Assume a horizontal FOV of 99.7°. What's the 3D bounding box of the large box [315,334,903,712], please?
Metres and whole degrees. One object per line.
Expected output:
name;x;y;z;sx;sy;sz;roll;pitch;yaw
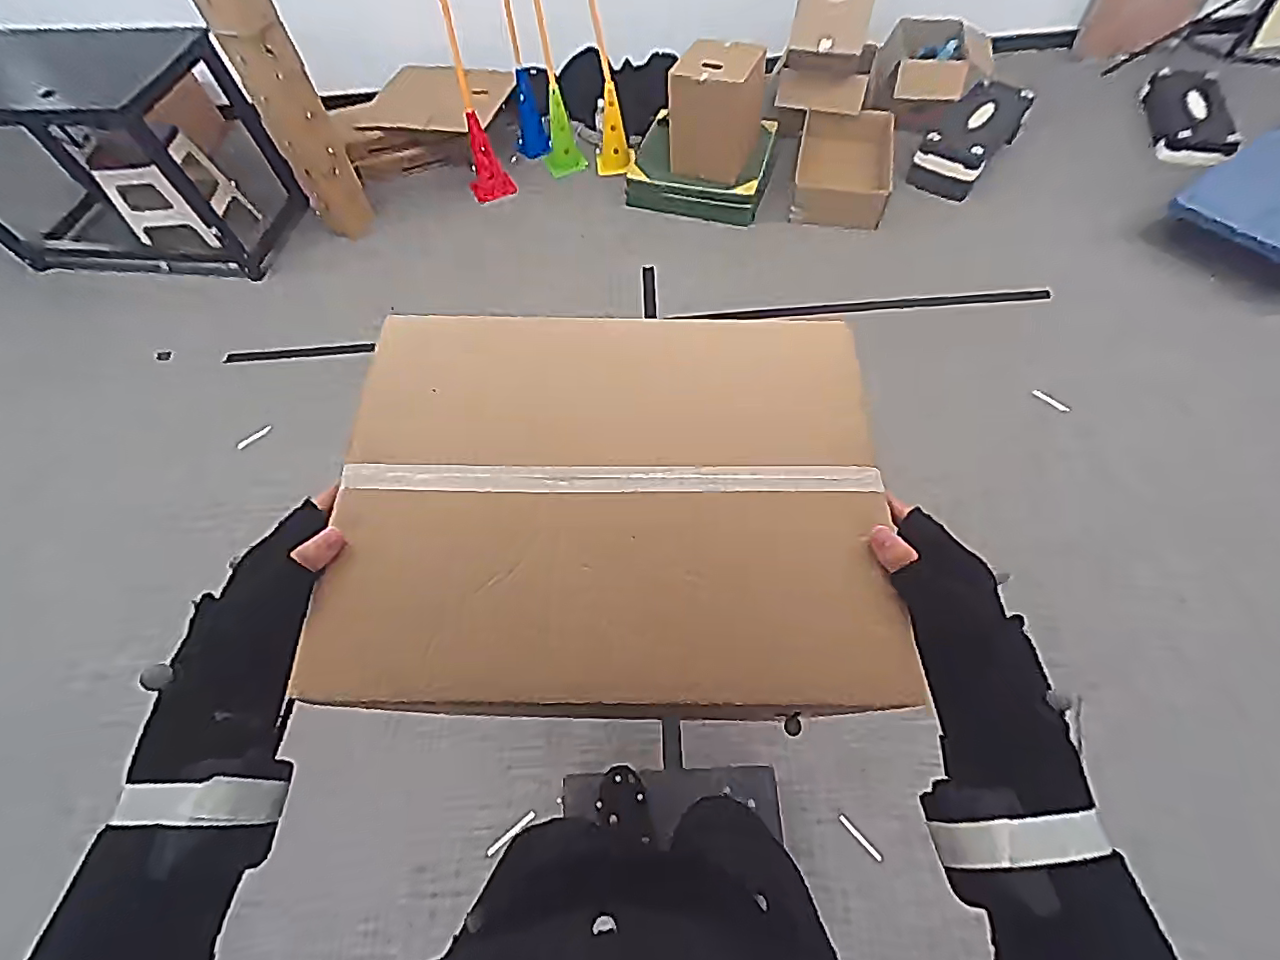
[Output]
large box;-0.019;0.070;0.557;0.408;0.320;0.320;1;65;0

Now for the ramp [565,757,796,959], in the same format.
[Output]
ramp;0.092;1.128;1.102;0.509;0.206;0.991;-5;61;0
